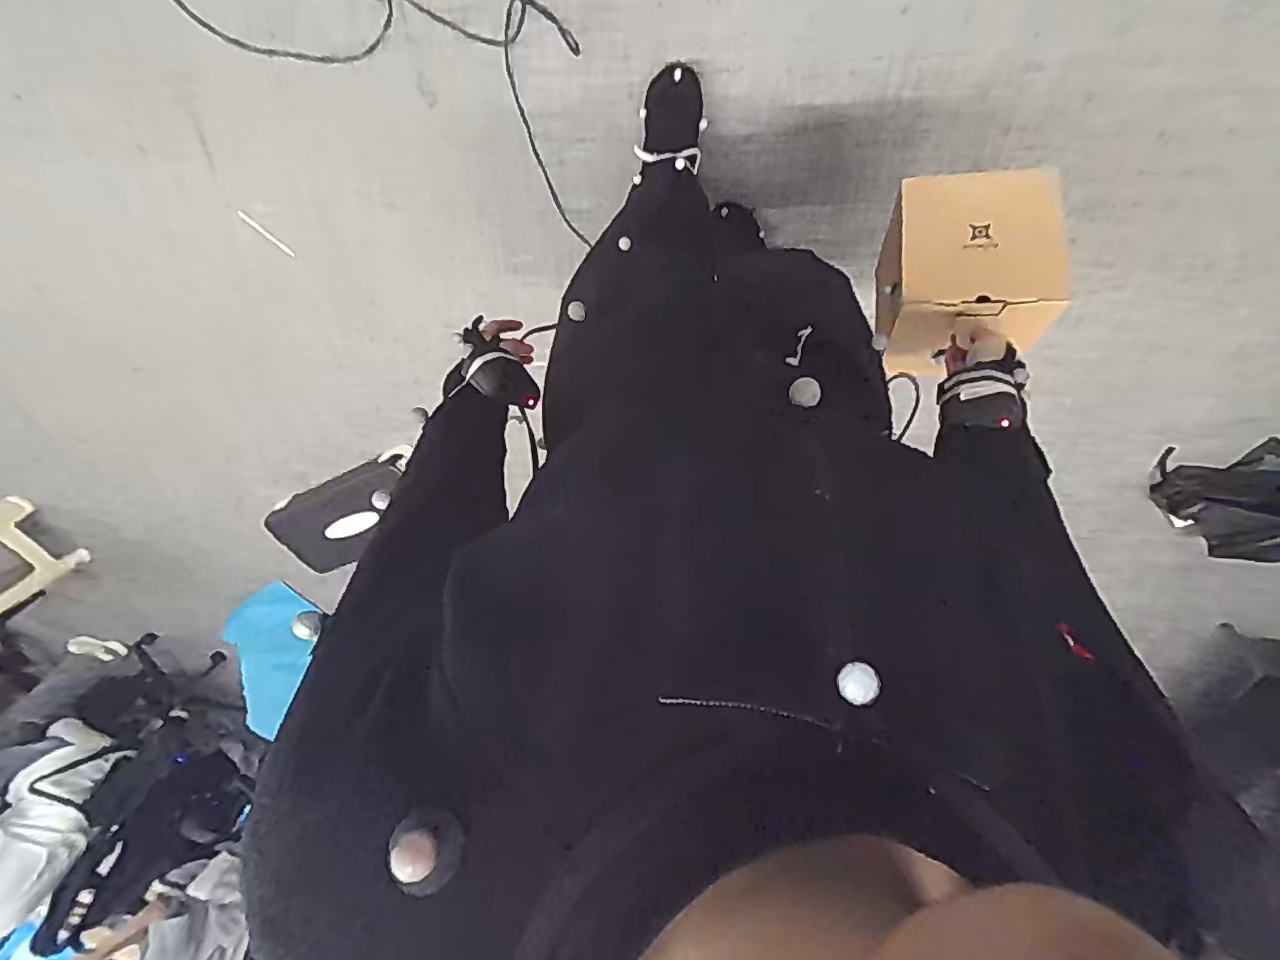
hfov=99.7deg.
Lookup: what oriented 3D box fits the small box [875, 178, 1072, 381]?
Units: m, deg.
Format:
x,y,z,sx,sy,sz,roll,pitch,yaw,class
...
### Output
x,y,z,sx,sy,sz,roll,pitch,yaw,class
0.402,-0.244,0.687,0.168,0.179,0.176,3,163,13,small box
